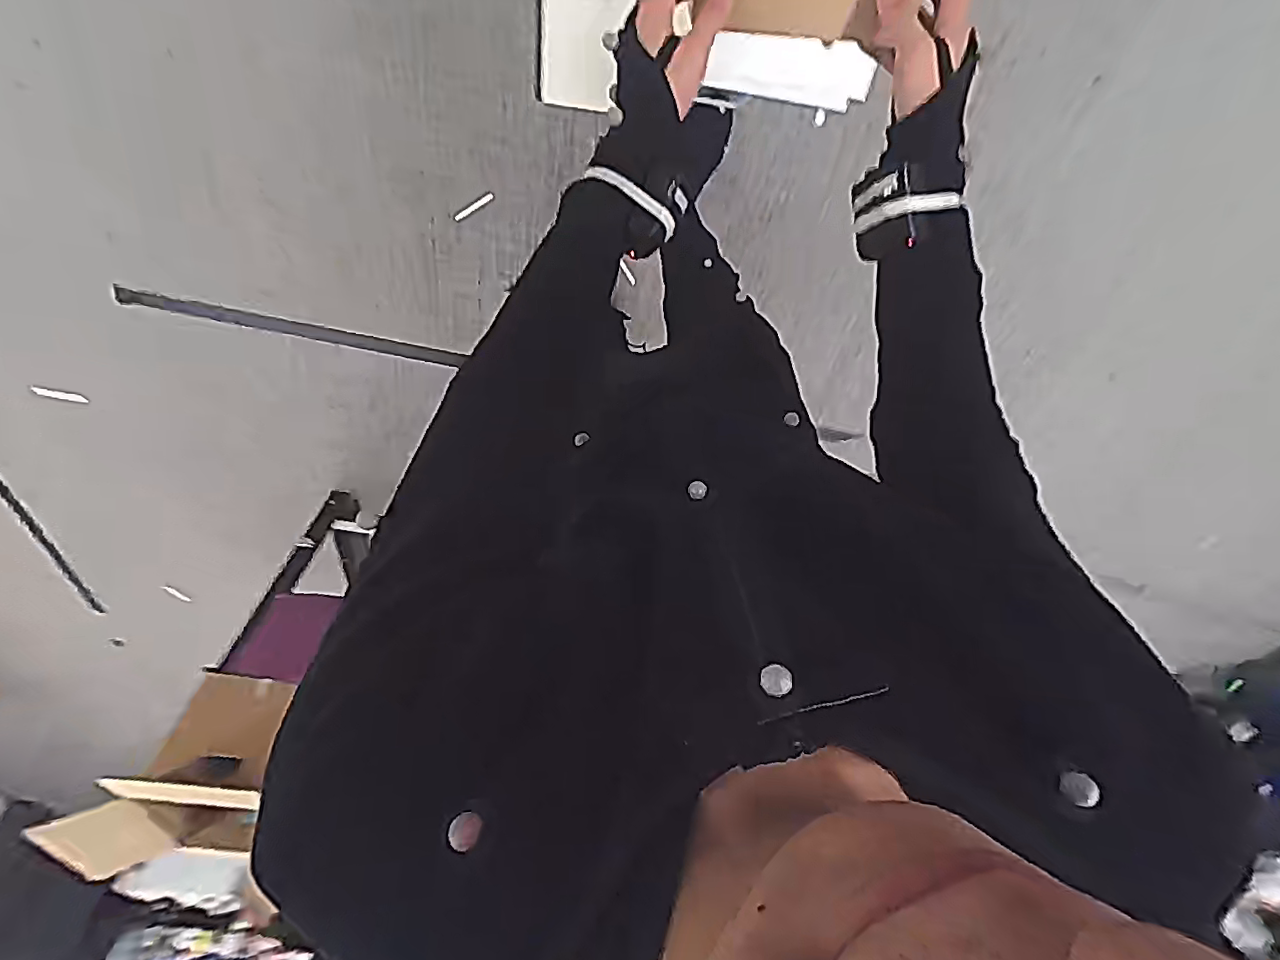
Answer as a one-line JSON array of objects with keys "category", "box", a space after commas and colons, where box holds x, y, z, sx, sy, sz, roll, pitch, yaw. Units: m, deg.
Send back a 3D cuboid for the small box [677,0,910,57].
[{"category": "small box", "box": [0.126, -0.466, 0.436, 0.179, 0.176, 0.168, 2, 138, -1]}]
